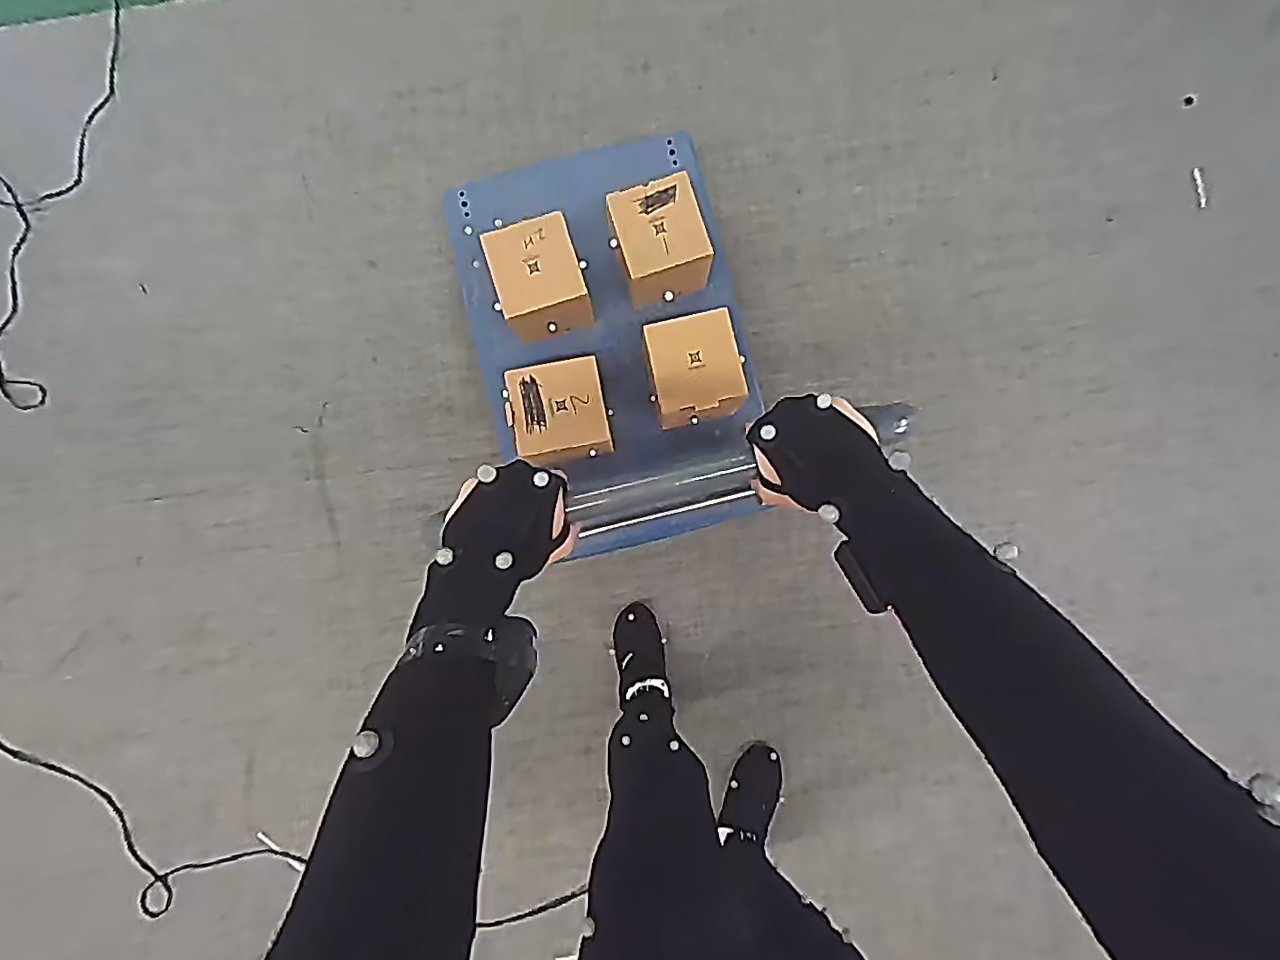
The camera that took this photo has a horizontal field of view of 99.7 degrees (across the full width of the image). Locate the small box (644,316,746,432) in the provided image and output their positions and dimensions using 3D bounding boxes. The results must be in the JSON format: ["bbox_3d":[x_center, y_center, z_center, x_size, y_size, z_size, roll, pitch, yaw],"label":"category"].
[{"bbox_3d":[0.104,-0.211,1.114,0.168,0.176,0.179,-13,86,-1],"label":"small box"}]

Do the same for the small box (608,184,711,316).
[{"bbox_3d":[0.038,-0.472,1.132,0.168,0.176,0.179,-18,87,0],"label":"small box"}]

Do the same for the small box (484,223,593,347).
[{"bbox_3d":[-0.202,-0.394,1.129,0.168,0.176,0.179,-18,86,-2],"label":"small box"}]
